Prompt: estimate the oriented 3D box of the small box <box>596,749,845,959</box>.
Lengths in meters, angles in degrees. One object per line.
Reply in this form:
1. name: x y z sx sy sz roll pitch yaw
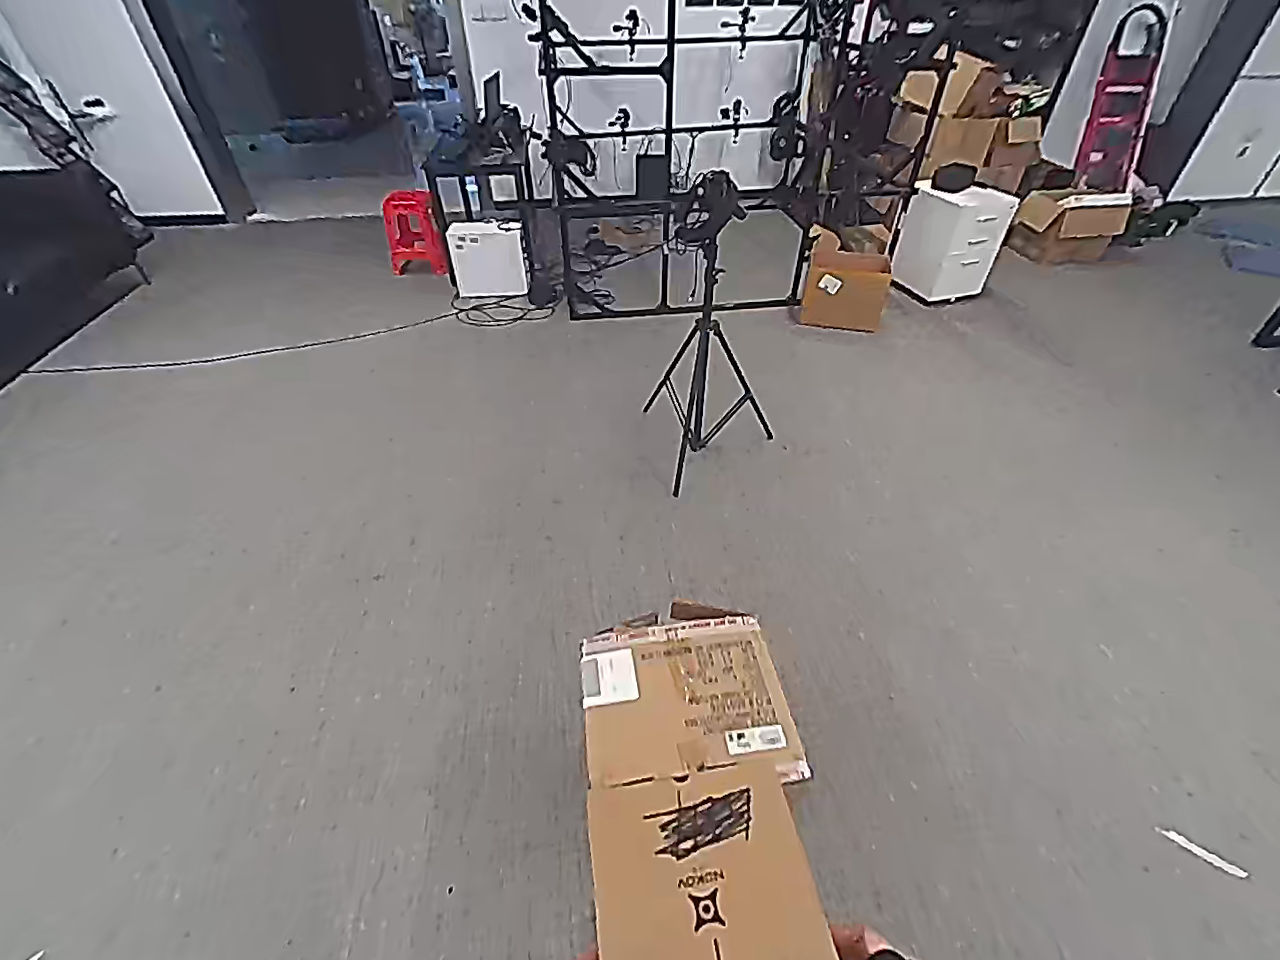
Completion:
1. small box: 0.056 0.366 0.462 0.168 0.176 0.179 -8 42 -5
